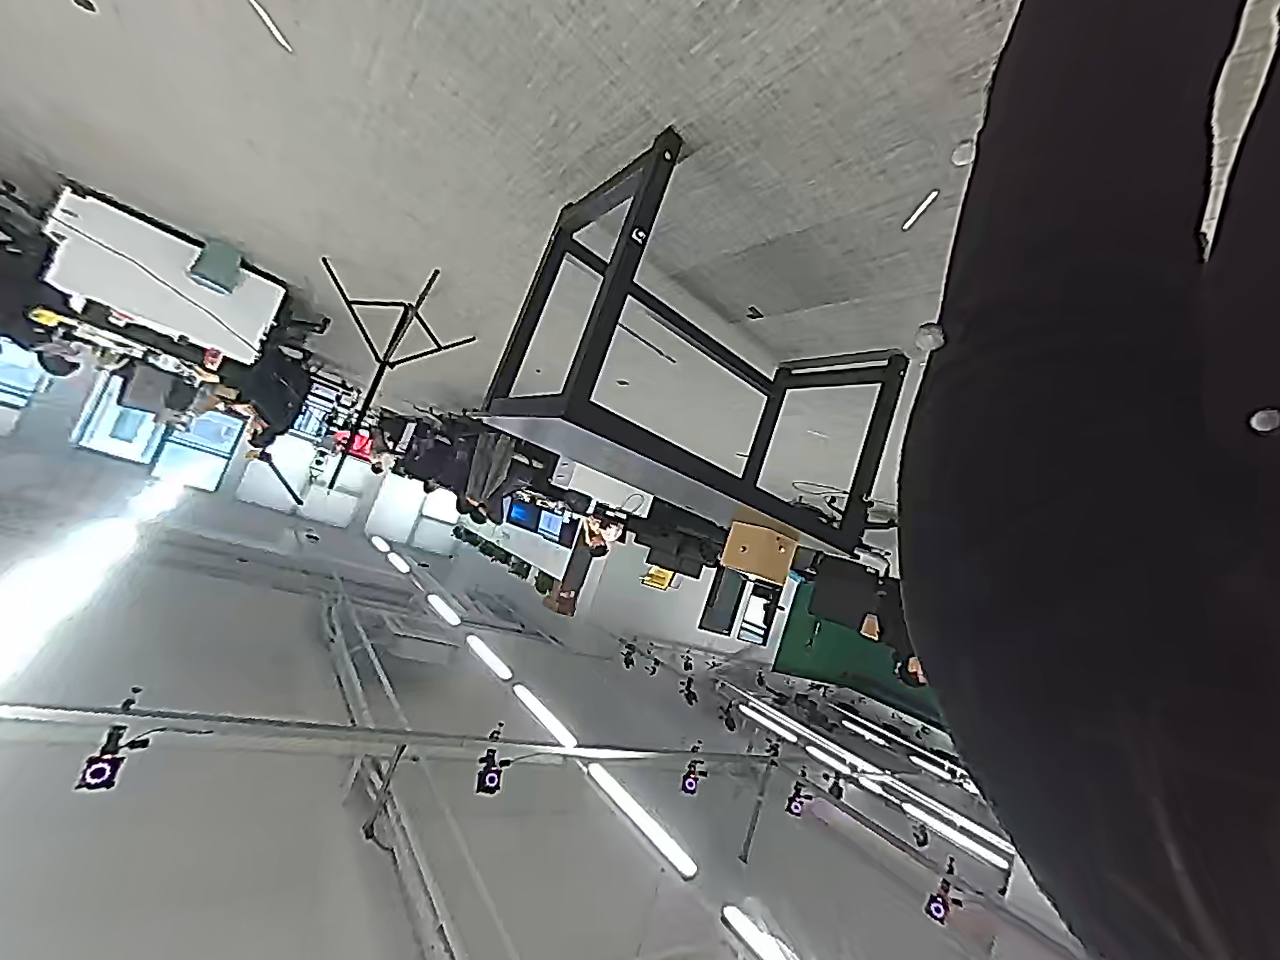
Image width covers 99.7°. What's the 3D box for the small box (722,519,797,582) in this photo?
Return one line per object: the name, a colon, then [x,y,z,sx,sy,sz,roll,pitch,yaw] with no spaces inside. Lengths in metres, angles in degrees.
small box: [0.429,0.247,1.929,0.168,0.176,0.179,23,171,-32]
